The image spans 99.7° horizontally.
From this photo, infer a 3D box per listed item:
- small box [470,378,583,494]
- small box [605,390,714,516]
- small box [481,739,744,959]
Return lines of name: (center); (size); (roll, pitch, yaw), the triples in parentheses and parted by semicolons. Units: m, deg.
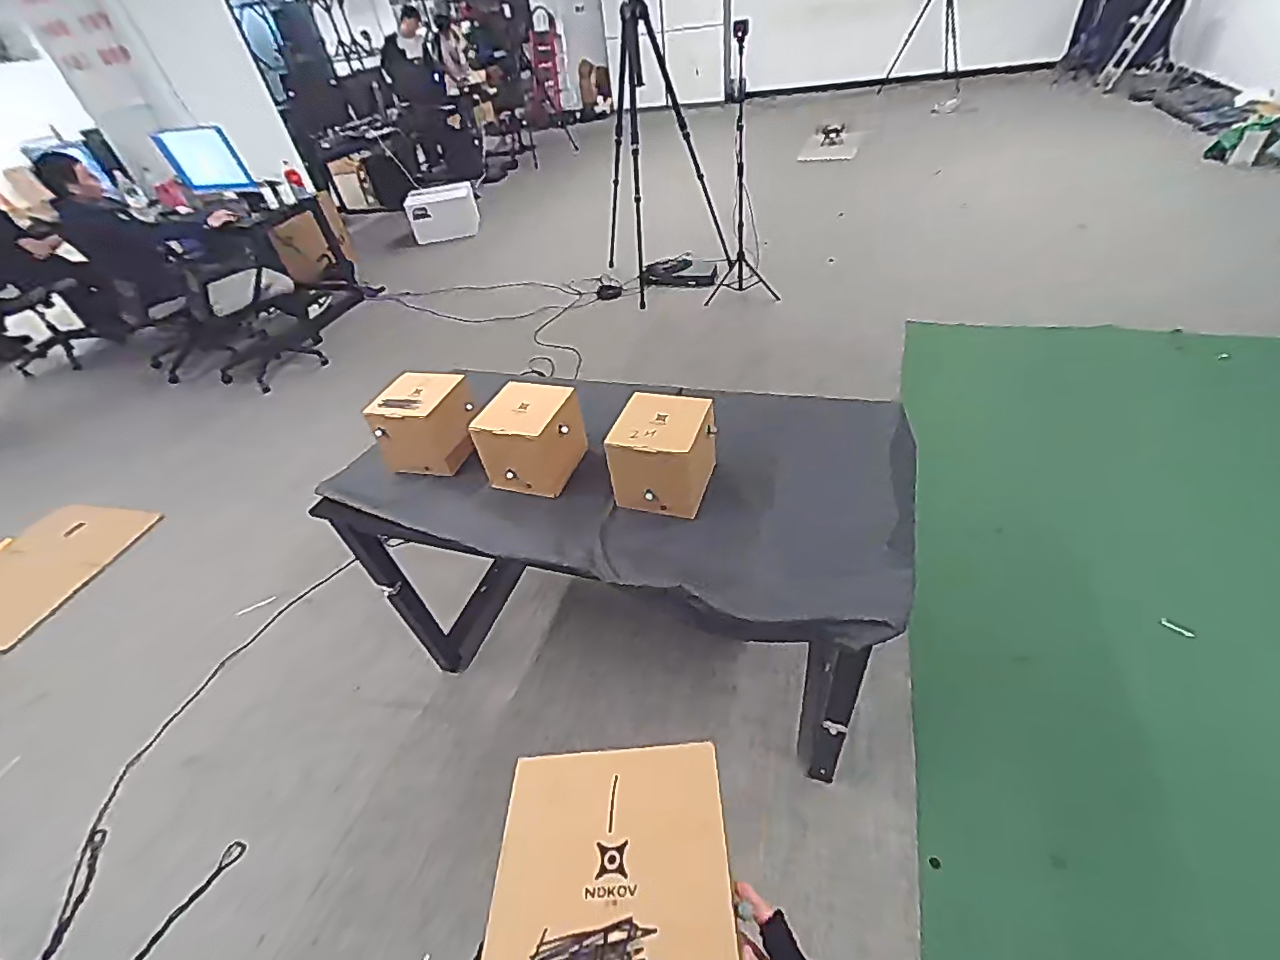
small box: (-0.234, -0.097, 1.173); (0.168, 0.176, 0.179); (9, 46, 18)
small box: (0.046, -0.057, 1.080); (0.168, 0.176, 0.179); (9, 45, 19)
small box: (-0.008, 0.334, 0.423); (0.168, 0.176, 0.179); (-7, 36, 5)
